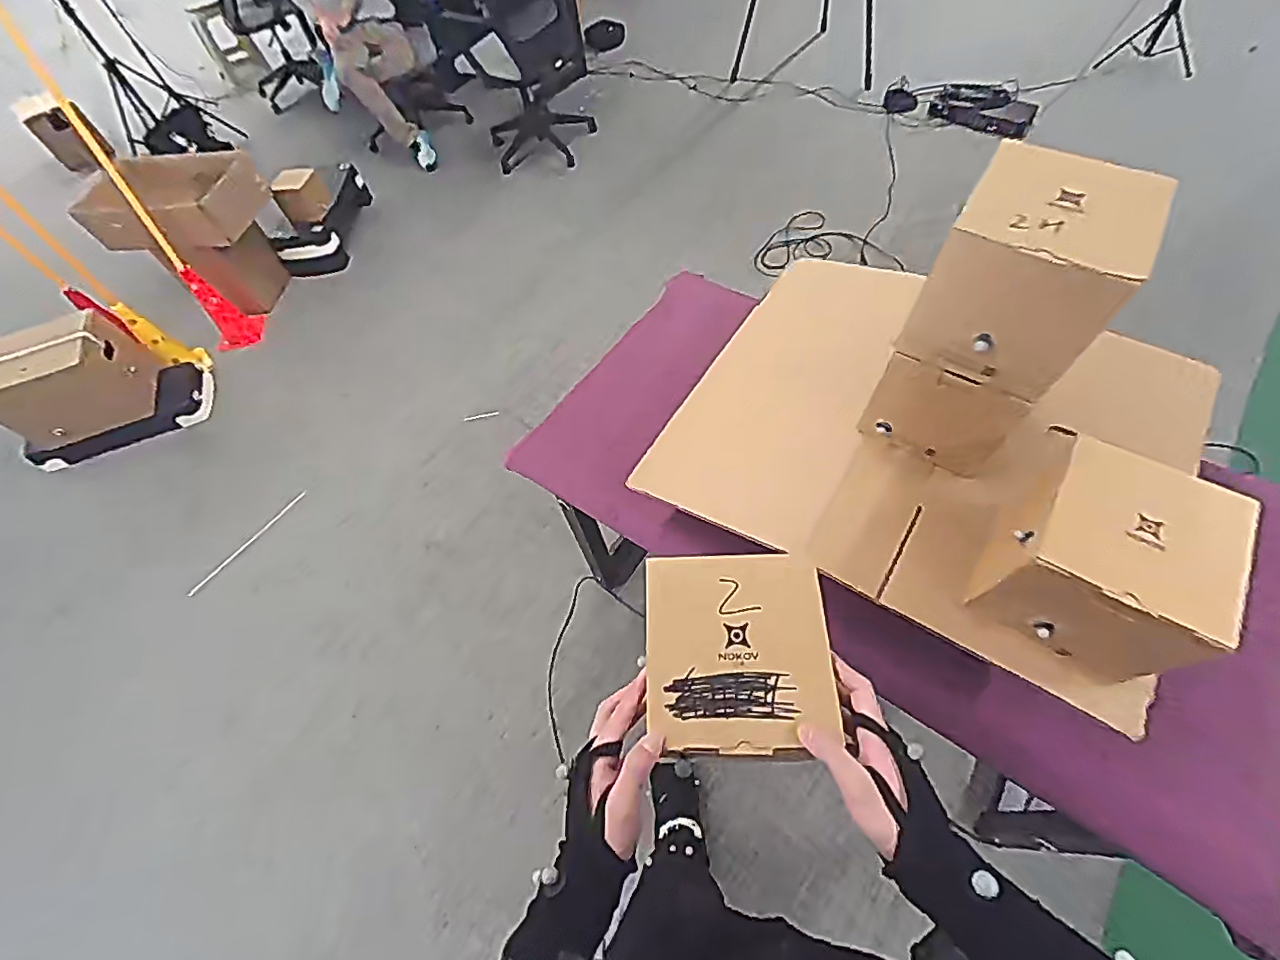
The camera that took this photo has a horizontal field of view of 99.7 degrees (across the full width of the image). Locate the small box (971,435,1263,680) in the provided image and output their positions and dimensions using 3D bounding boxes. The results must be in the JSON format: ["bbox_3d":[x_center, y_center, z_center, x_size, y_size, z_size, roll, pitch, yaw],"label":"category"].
[{"bbox_3d":[0.501,0.090,0.592,0.168,0.176,0.179,29,67,19],"label":"small box"}]

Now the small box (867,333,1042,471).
[{"bbox_3d":[0.429,-0.143,0.729,0.168,0.176,0.179,29,65,18],"label":"small box"}]

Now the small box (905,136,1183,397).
[{"bbox_3d":[0.420,-0.227,0.589,0.168,0.176,0.179,29,67,19],"label":"small box"}]
